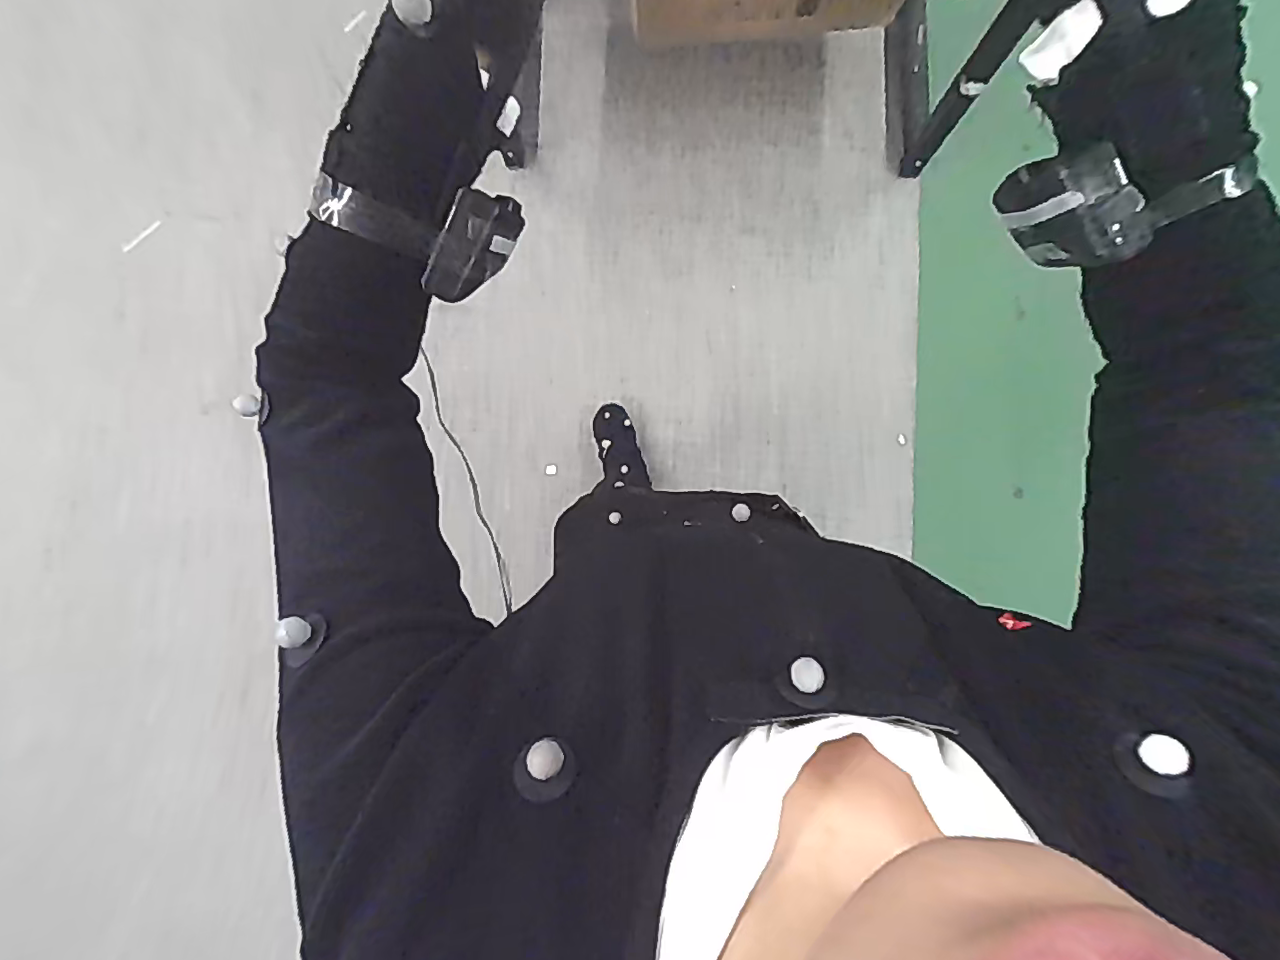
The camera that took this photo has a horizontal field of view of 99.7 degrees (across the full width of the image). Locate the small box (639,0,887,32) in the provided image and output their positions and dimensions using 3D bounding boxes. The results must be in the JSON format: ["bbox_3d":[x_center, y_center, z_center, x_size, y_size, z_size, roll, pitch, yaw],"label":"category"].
[{"bbox_3d":[0.072,-0.385,0.275,0.168,0.176,0.179,-5,85,0],"label":"small box"}]
